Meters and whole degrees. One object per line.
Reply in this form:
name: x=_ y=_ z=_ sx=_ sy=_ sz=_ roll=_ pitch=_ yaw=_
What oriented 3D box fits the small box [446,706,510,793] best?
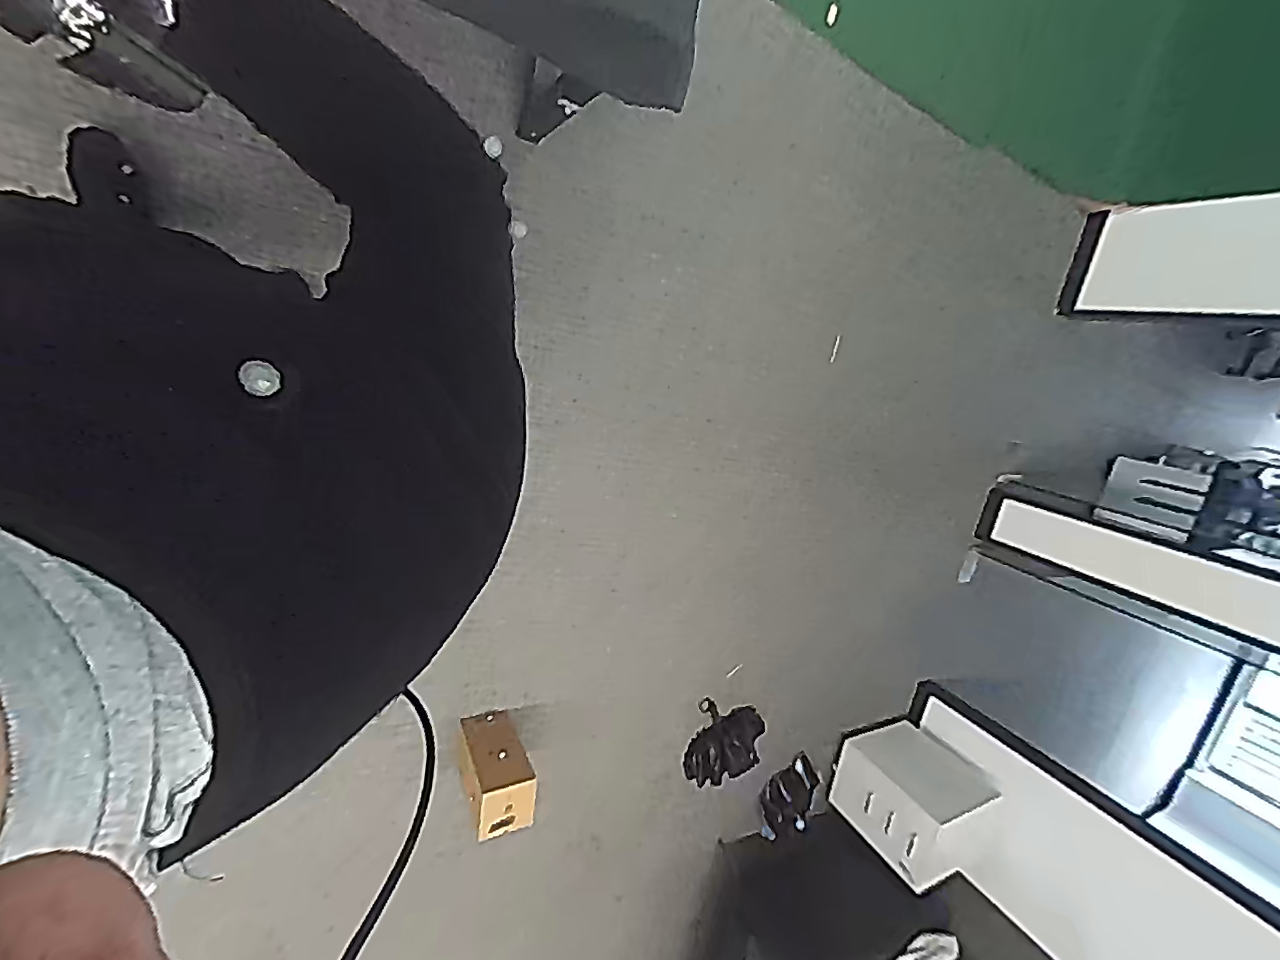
small box: x=-0.543 y=0.889 z=1.797 sx=0.168 sy=0.176 sz=0.179 roll=-1 pitch=107 yaw=-32

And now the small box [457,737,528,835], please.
small box: x=-0.458 y=0.932 z=1.662 sx=0.168 sy=0.176 sz=0.179 roll=-1 pitch=108 yaw=-32
